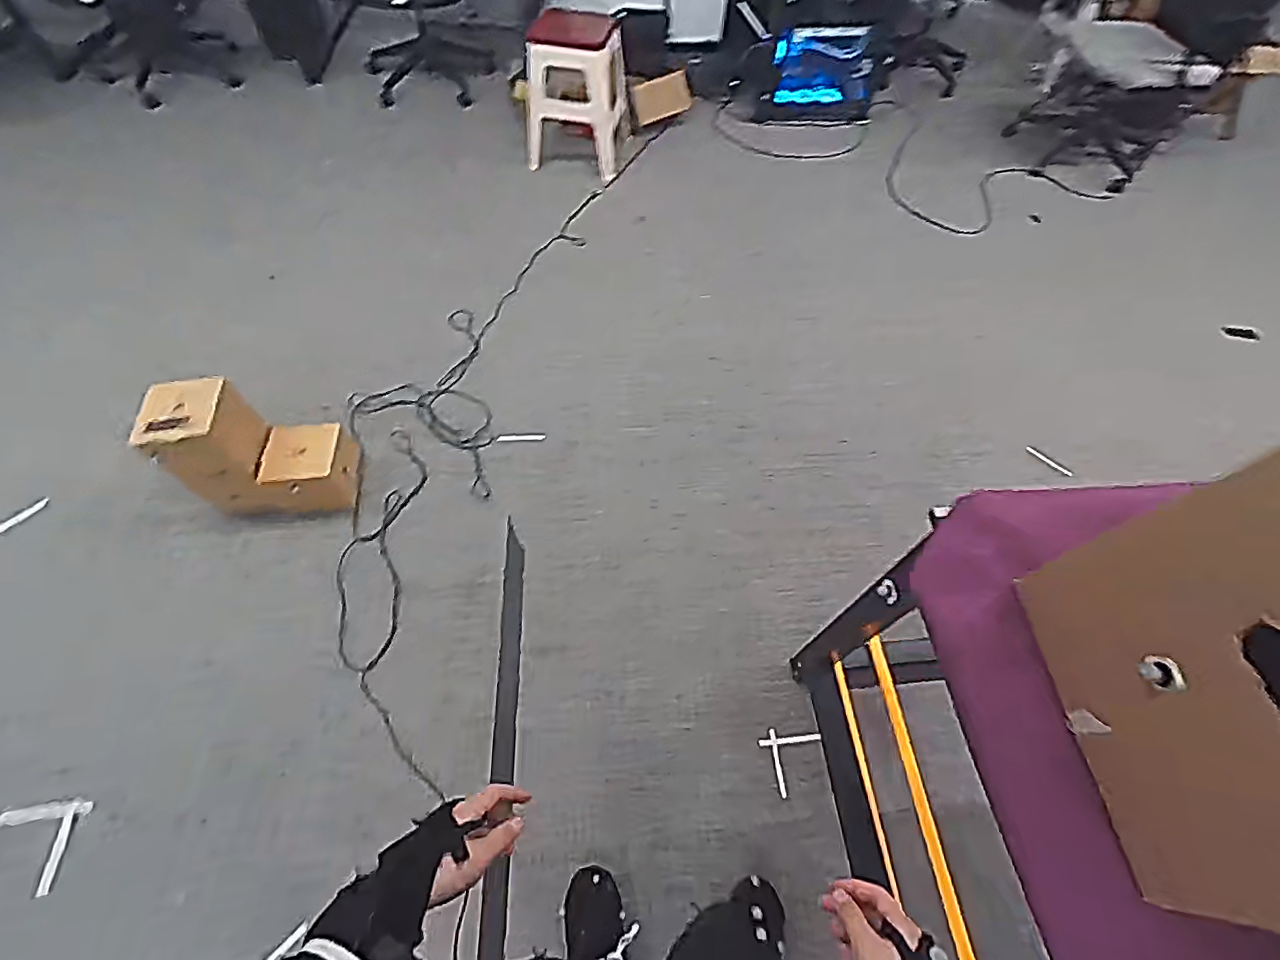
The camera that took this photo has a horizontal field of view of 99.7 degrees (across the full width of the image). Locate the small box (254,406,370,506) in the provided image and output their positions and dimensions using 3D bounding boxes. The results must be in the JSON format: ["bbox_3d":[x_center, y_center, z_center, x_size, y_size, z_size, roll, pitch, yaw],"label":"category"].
[{"bbox_3d":[-0.839,-0.059,1.390,0.168,0.176,0.179,25,70,-3],"label":"small box"}]
